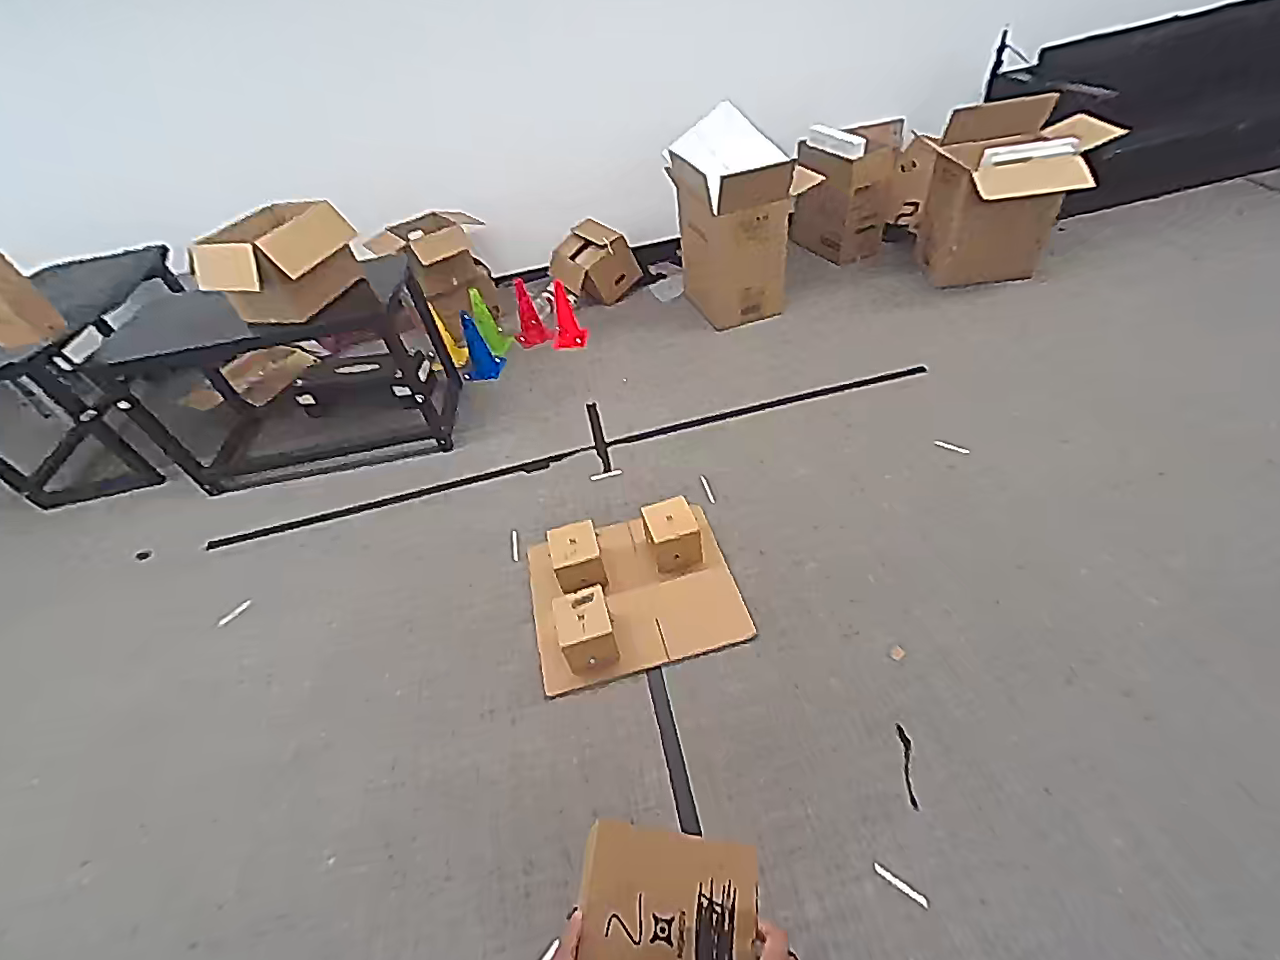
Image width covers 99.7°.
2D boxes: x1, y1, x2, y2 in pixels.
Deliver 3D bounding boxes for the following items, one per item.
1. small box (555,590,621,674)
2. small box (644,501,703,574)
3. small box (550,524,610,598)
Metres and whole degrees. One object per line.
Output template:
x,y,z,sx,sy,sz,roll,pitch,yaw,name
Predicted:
-0.164,0.483,1.717,0.168,0.176,0.179,-16,46,-5,small box
0.121,0.209,1.949,0.168,0.176,0.179,-17,45,-7,small box
-0.212,0.289,1.920,0.168,0.176,0.179,-15,45,-4,small box
